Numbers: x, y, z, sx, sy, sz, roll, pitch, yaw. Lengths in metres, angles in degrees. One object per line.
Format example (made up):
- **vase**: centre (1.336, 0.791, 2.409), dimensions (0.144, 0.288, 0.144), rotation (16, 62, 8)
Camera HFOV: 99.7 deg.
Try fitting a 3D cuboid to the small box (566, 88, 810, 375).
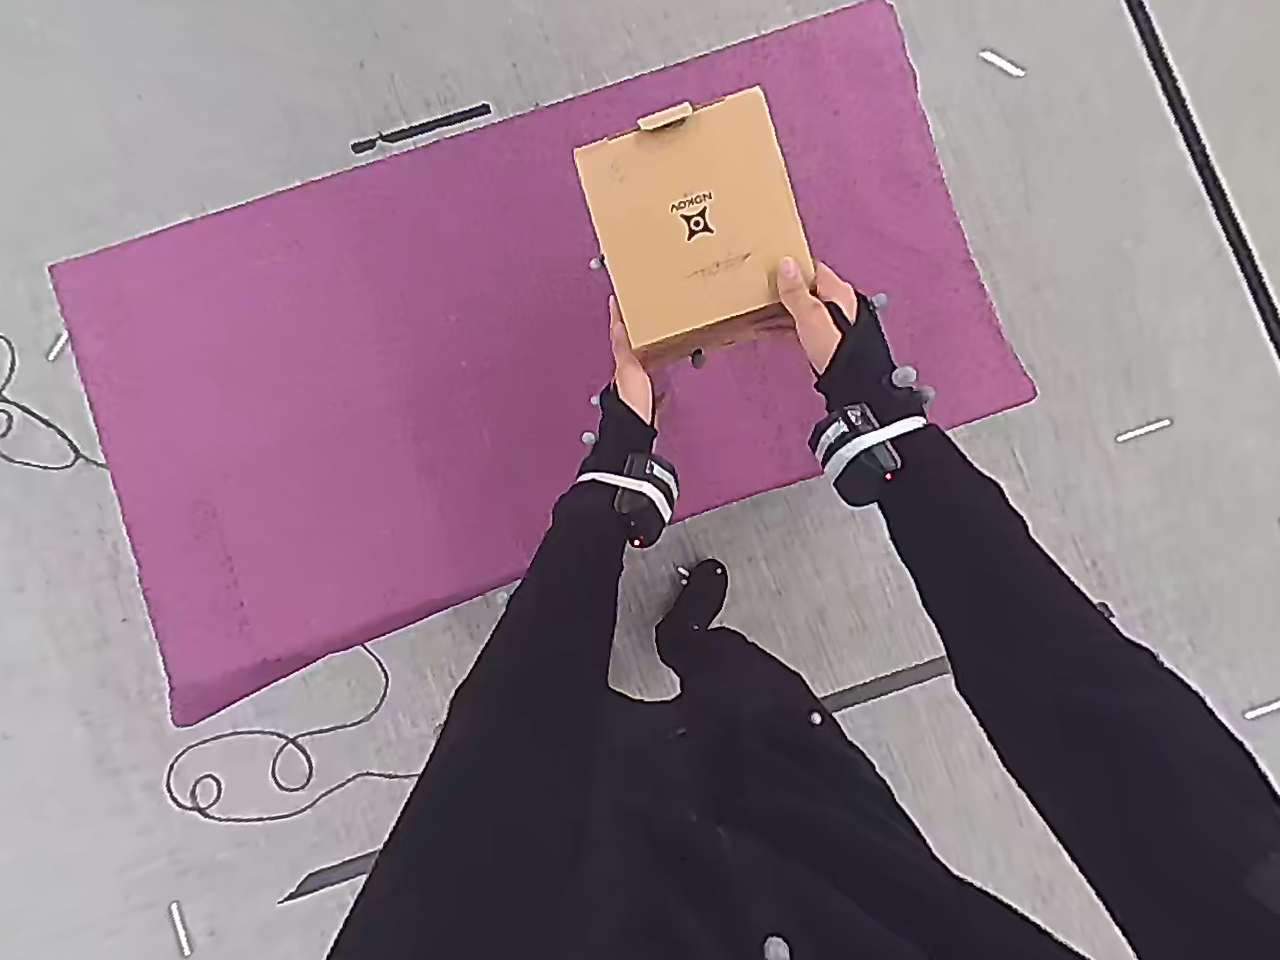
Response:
- **small box**: centre (0.041, -0.217, 0.523), dimensions (0.168, 0.176, 0.179), rotation (-17, 92, 4)
